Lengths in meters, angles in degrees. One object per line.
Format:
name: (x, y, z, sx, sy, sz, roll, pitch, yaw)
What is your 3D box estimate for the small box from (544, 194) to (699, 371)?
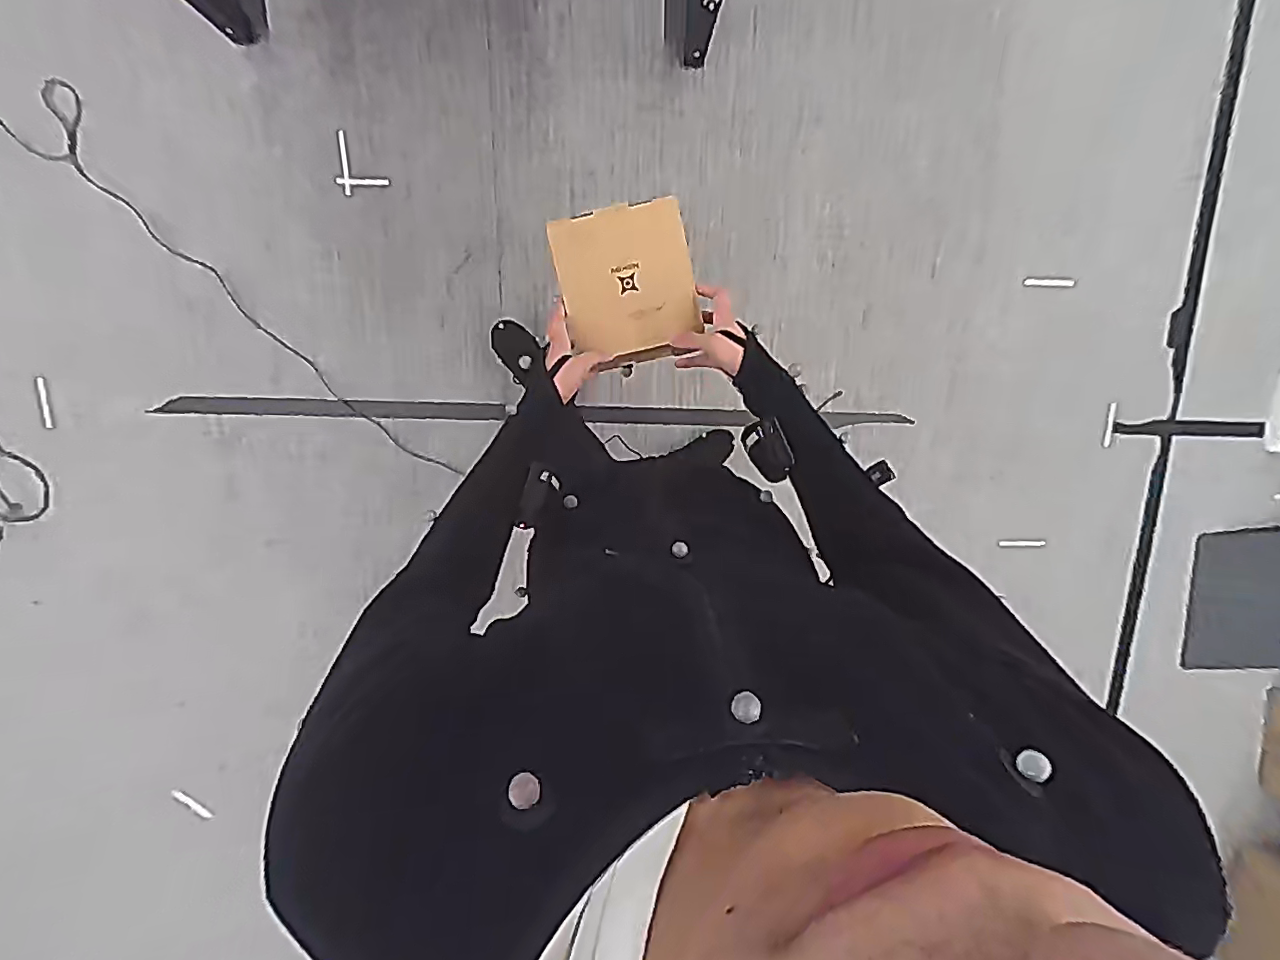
small box: (-0.027, -0.258, 0.744, 0.168, 0.176, 0.179, -13, 98, -2)
